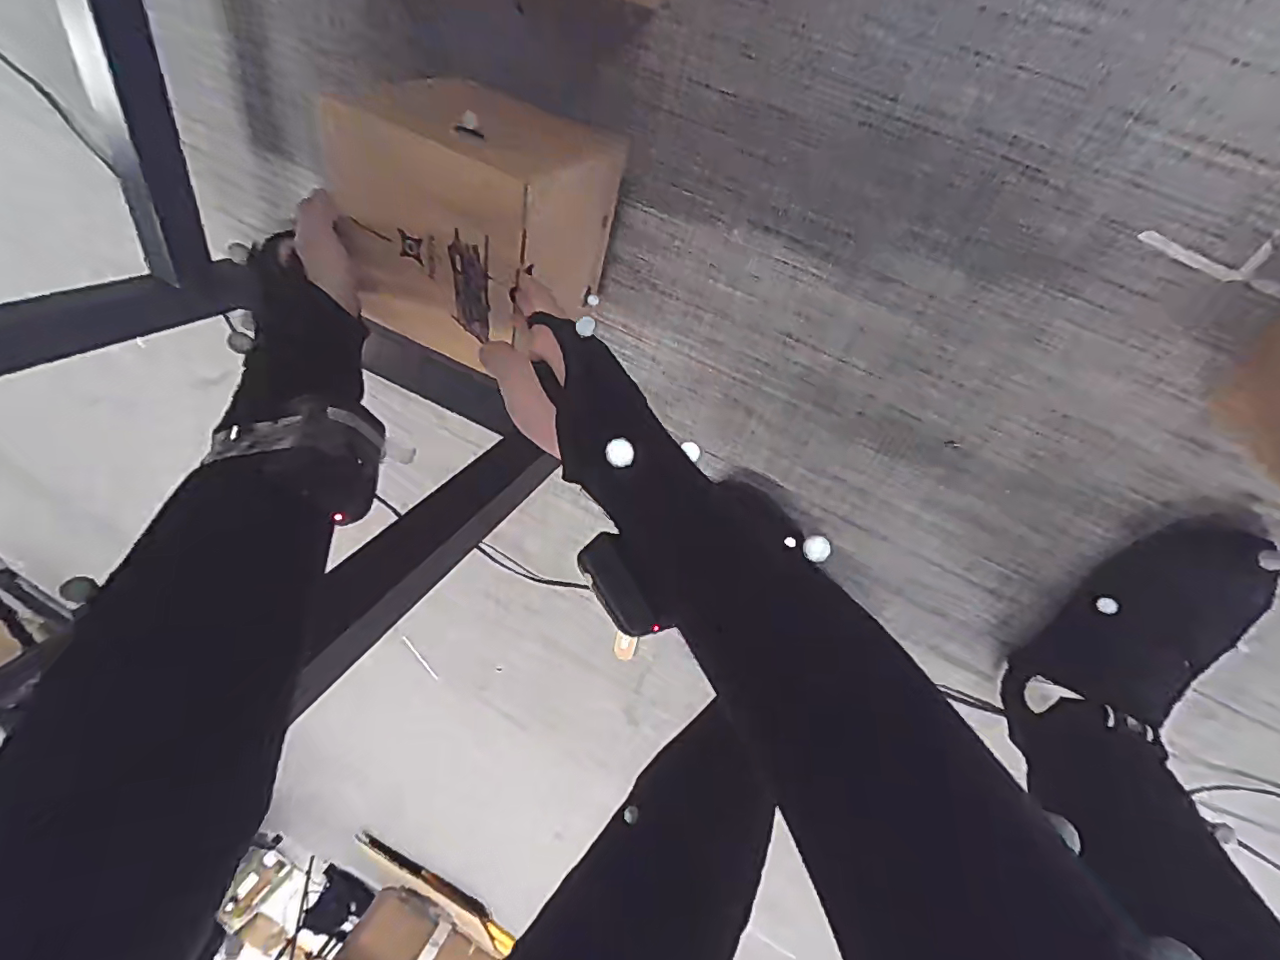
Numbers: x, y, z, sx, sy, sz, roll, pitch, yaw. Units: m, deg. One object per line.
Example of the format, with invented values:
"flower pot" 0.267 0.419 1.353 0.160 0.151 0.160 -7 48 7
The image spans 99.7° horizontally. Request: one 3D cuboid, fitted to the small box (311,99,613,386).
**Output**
"small box" -0.143 -0.218 0.480 0.179 0.176 0.168 26 132 7
